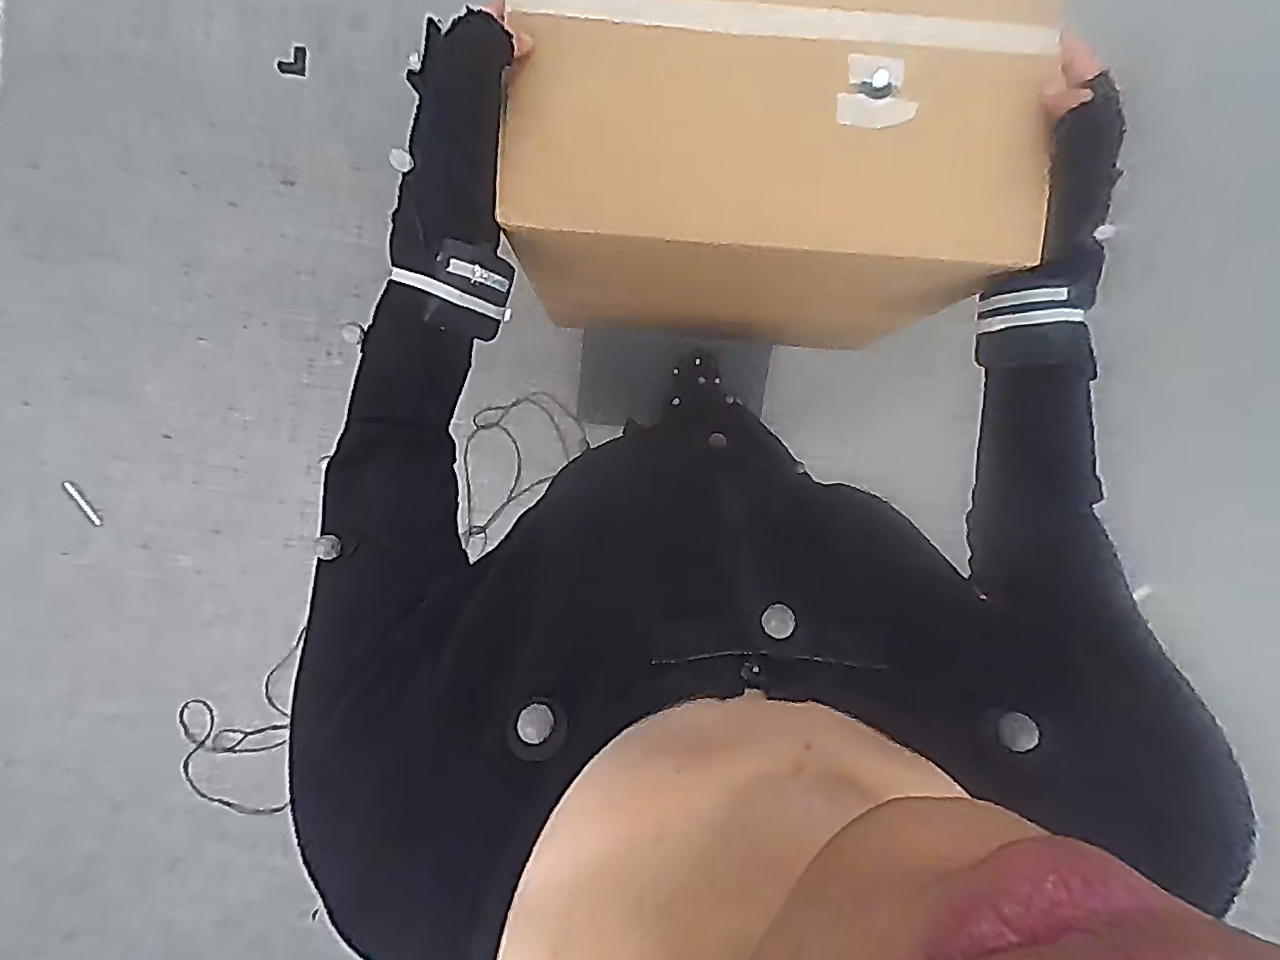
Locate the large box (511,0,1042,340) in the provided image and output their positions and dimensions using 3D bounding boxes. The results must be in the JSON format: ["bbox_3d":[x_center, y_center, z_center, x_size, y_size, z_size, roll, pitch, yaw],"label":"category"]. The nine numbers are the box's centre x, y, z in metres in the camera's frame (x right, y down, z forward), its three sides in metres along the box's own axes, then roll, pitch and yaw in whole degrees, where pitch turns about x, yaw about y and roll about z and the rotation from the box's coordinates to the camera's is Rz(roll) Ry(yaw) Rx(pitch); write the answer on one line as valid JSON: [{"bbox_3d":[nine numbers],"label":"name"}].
[{"bbox_3d":[0.100,-0.341,0.558,0.408,0.320,0.320,4,92,-2],"label":"large box"}]

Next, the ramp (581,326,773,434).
[{"bbox_3d":[0.133,-0.624,1.337,0.509,0.206,0.991,4,96,-3],"label":"ramp"}]
